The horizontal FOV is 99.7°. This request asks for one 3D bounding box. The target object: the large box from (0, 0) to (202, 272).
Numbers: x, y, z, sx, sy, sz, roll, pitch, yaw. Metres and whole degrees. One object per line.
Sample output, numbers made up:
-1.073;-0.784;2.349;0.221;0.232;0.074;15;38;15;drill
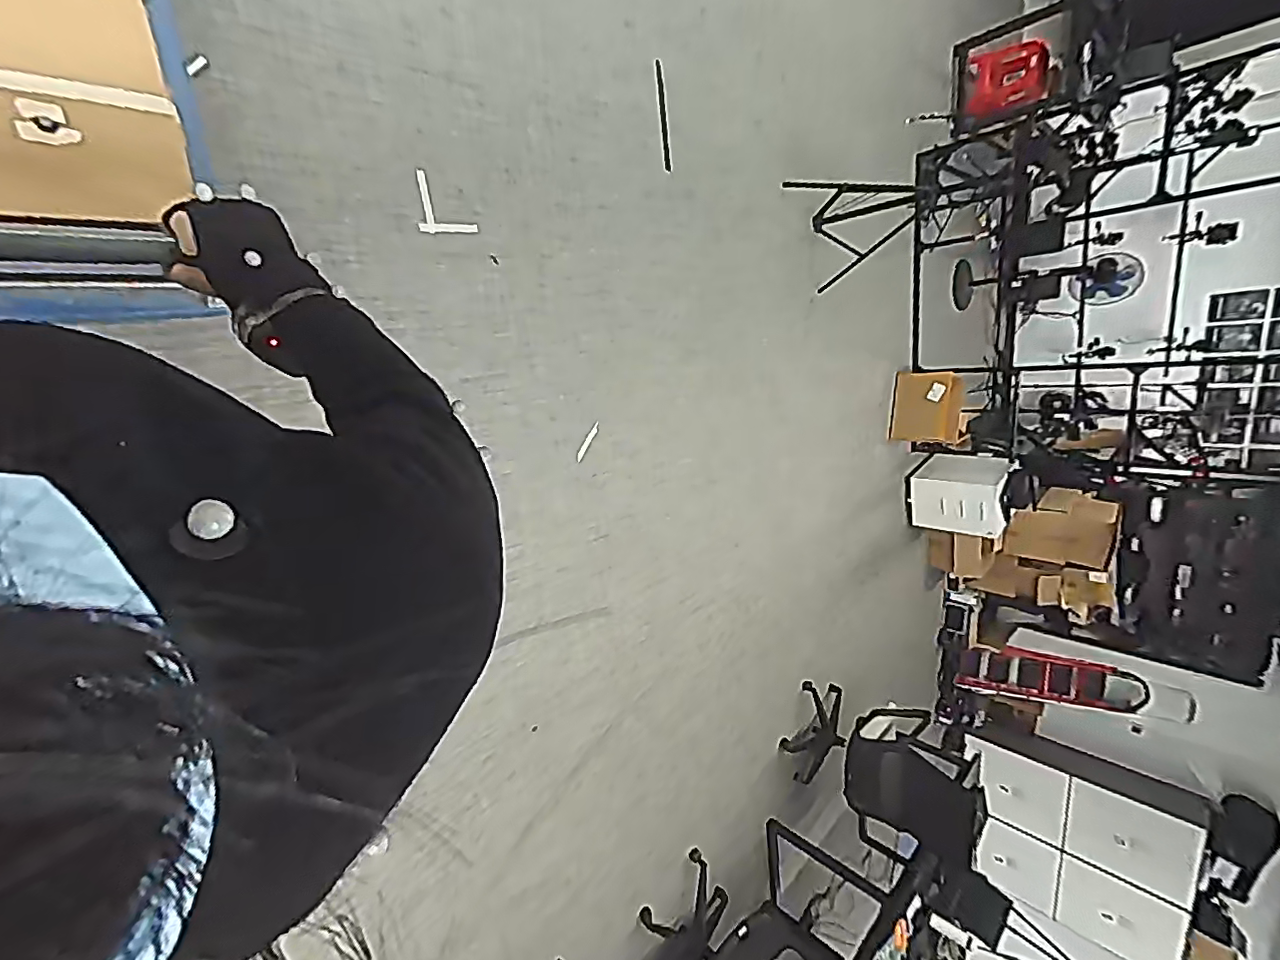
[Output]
-0.902;-0.470;0.731;0.408;0.320;0.320;-18;109;-42;large box
